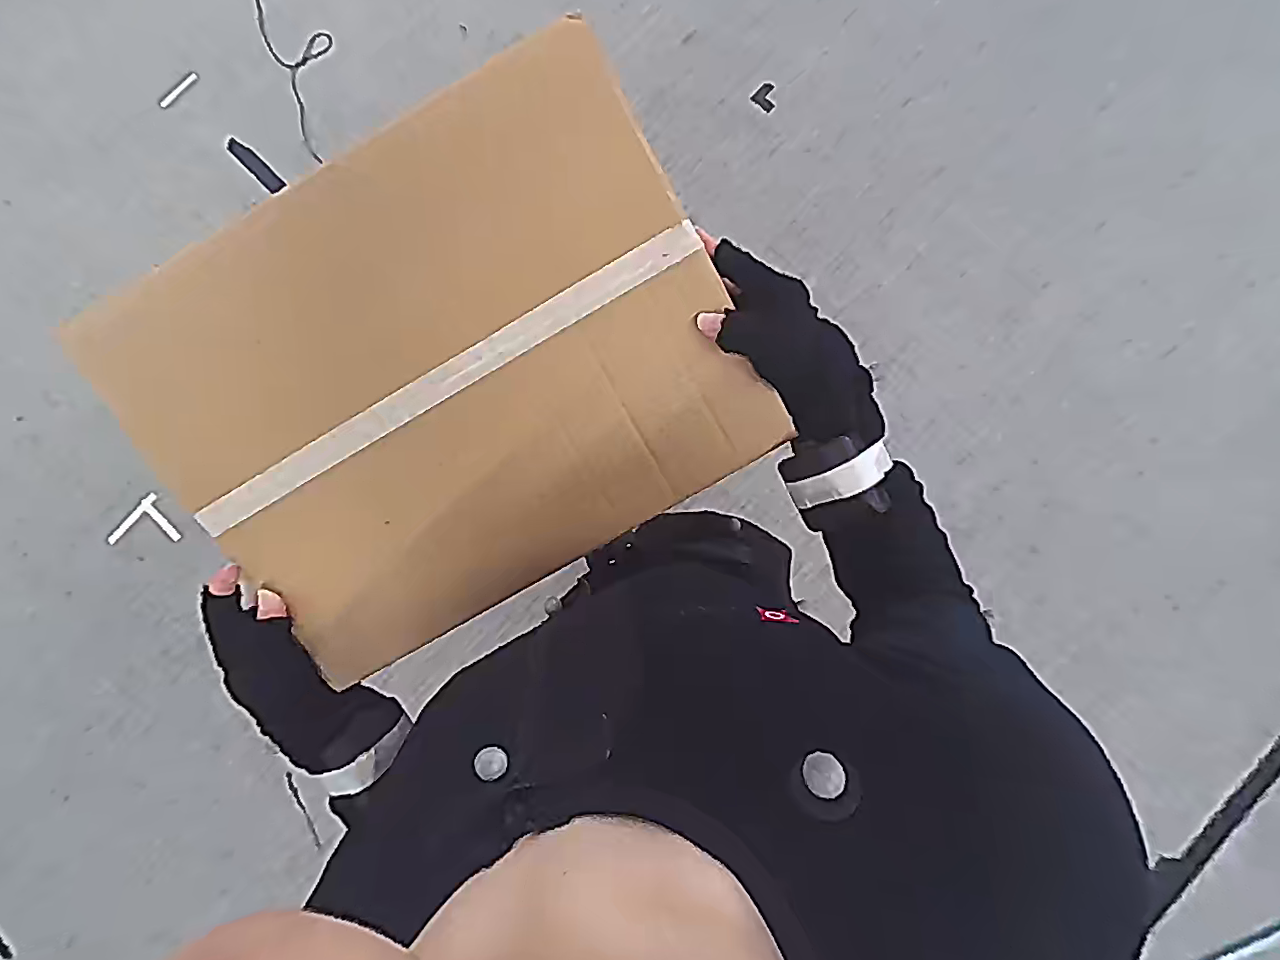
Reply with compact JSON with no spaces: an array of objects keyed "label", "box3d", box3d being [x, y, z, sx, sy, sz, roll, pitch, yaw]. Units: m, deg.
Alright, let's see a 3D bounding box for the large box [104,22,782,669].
[{"label":"large box","box3d":[-0.141,-0.100,0.538,0.408,0.320,0.320,-29,101,4]}]
